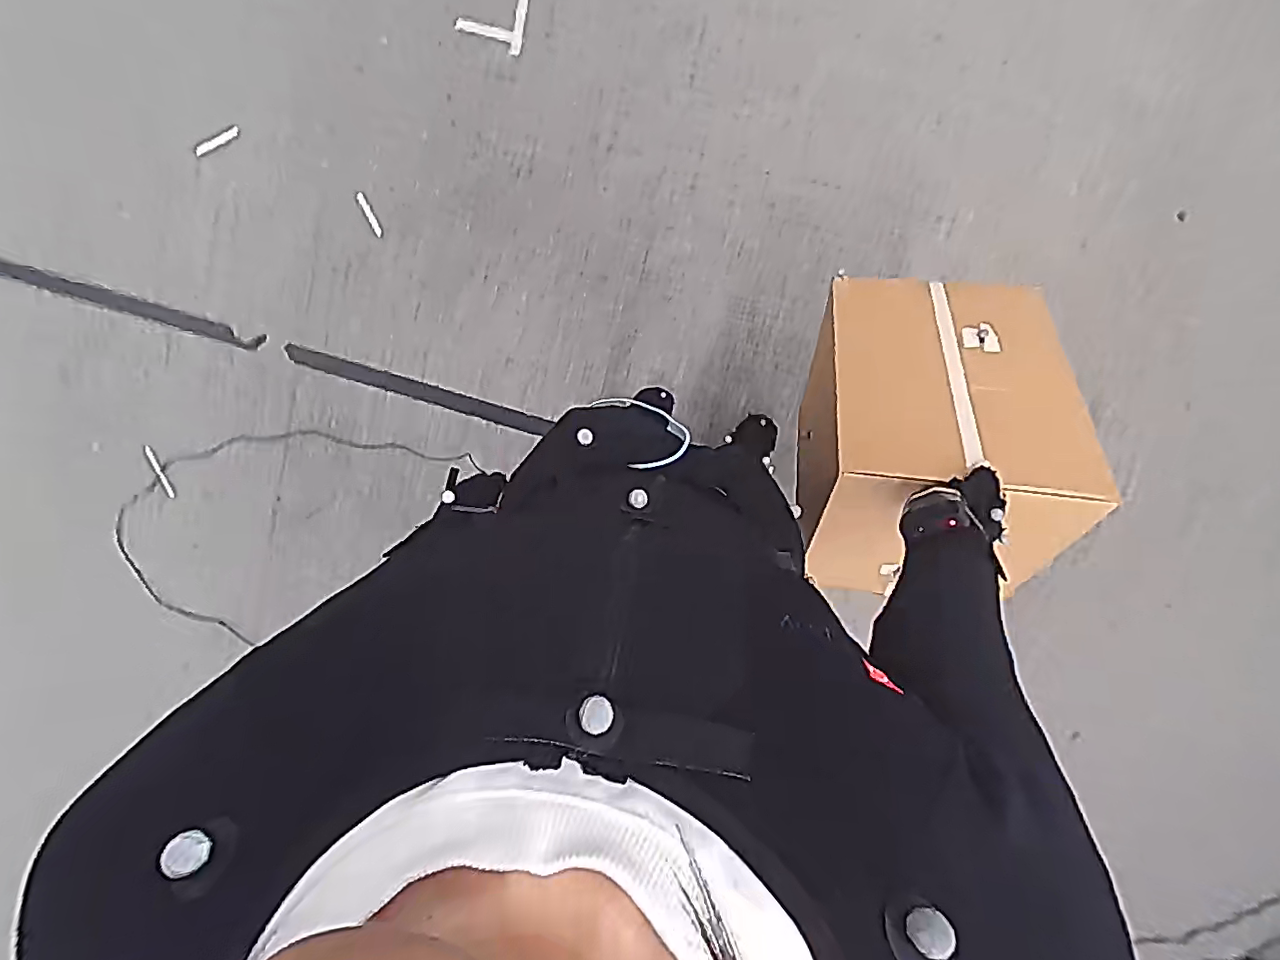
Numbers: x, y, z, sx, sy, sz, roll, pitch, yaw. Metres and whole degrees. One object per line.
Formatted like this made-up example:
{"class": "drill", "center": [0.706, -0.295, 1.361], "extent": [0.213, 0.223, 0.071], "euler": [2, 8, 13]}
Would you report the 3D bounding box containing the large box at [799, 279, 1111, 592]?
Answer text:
{"class": "large box", "center": [0.442, -0.071, 0.884], "extent": [0.320, 0.408, 0.320], "euler": [6, 144, 7]}
